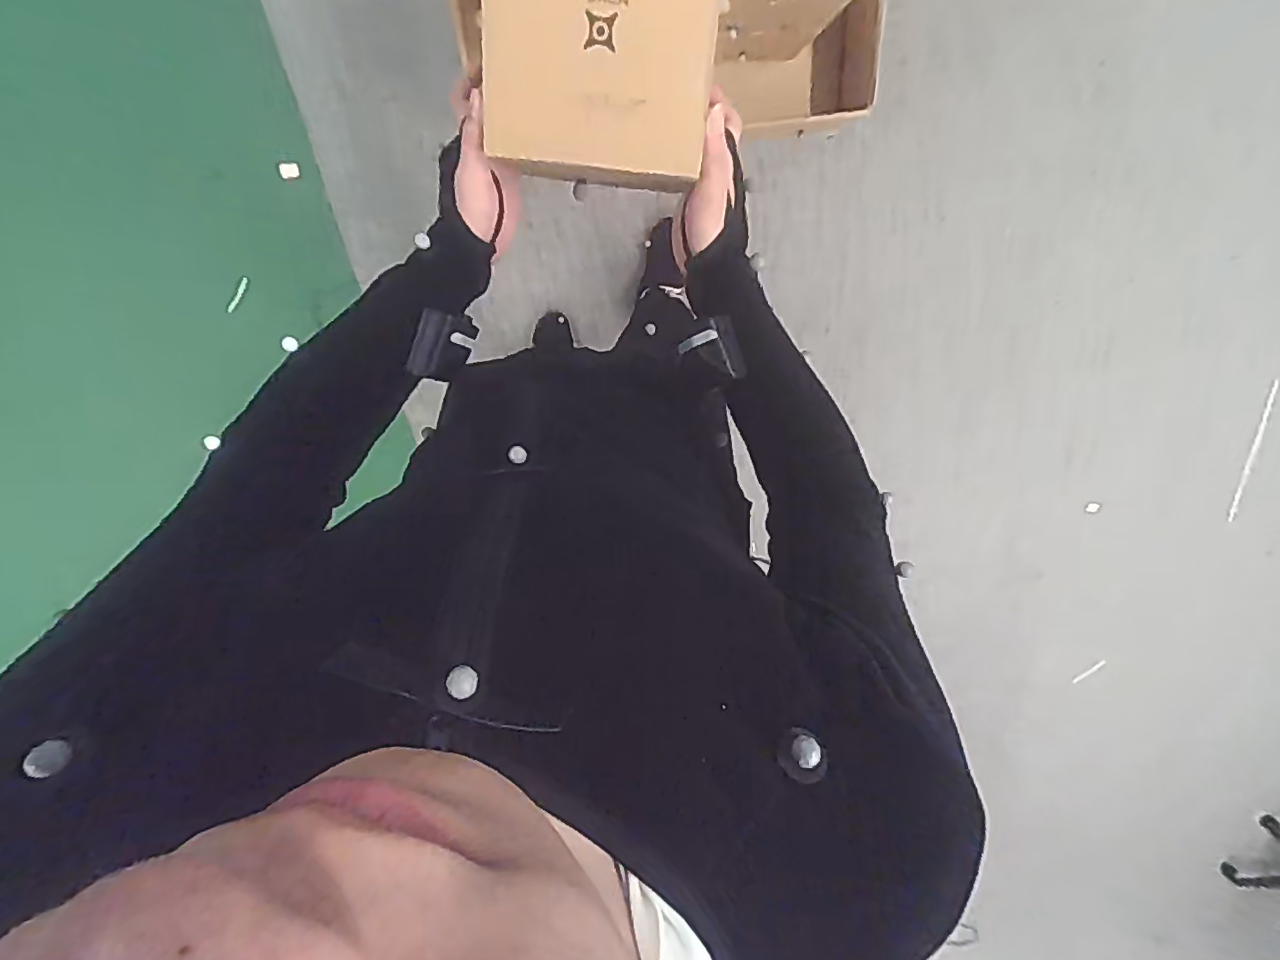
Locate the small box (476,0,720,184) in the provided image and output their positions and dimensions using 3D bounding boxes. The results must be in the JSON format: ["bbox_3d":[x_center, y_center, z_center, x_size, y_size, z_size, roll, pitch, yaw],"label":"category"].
[{"bbox_3d":[-0.031,-0.352,0.435,0.168,0.176,0.179,5,115,-4],"label":"small box"}]

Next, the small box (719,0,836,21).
[{"bbox_3d":[0.169,-0.665,0.628,0.168,0.176,0.179,-2,116,1],"label":"small box"}]
